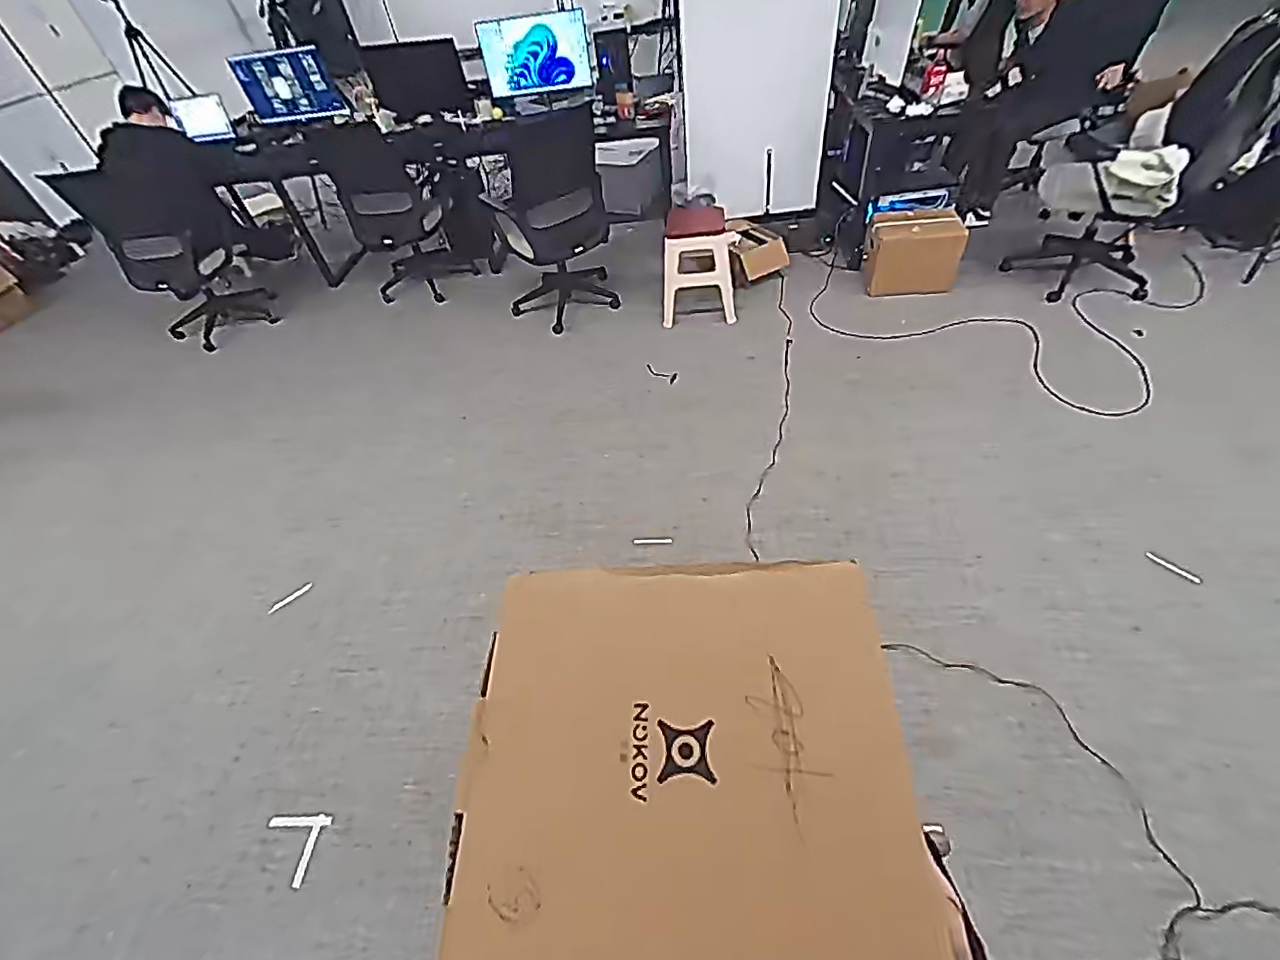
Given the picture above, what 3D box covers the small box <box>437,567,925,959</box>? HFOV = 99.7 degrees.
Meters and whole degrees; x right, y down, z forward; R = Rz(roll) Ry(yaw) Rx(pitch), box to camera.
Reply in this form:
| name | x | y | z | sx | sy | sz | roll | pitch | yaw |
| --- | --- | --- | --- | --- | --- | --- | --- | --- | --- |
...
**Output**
| name | x | y | z | sx | sy | sz | roll | pitch | yaw |
| --- | --- | --- | --- | --- | --- | --- | --- | --- | --- |
| small box | 0.023 | 0.160 | 0.295 | 0.179 | 0.176 | 0.168 | -3 | 54 | 6 |
